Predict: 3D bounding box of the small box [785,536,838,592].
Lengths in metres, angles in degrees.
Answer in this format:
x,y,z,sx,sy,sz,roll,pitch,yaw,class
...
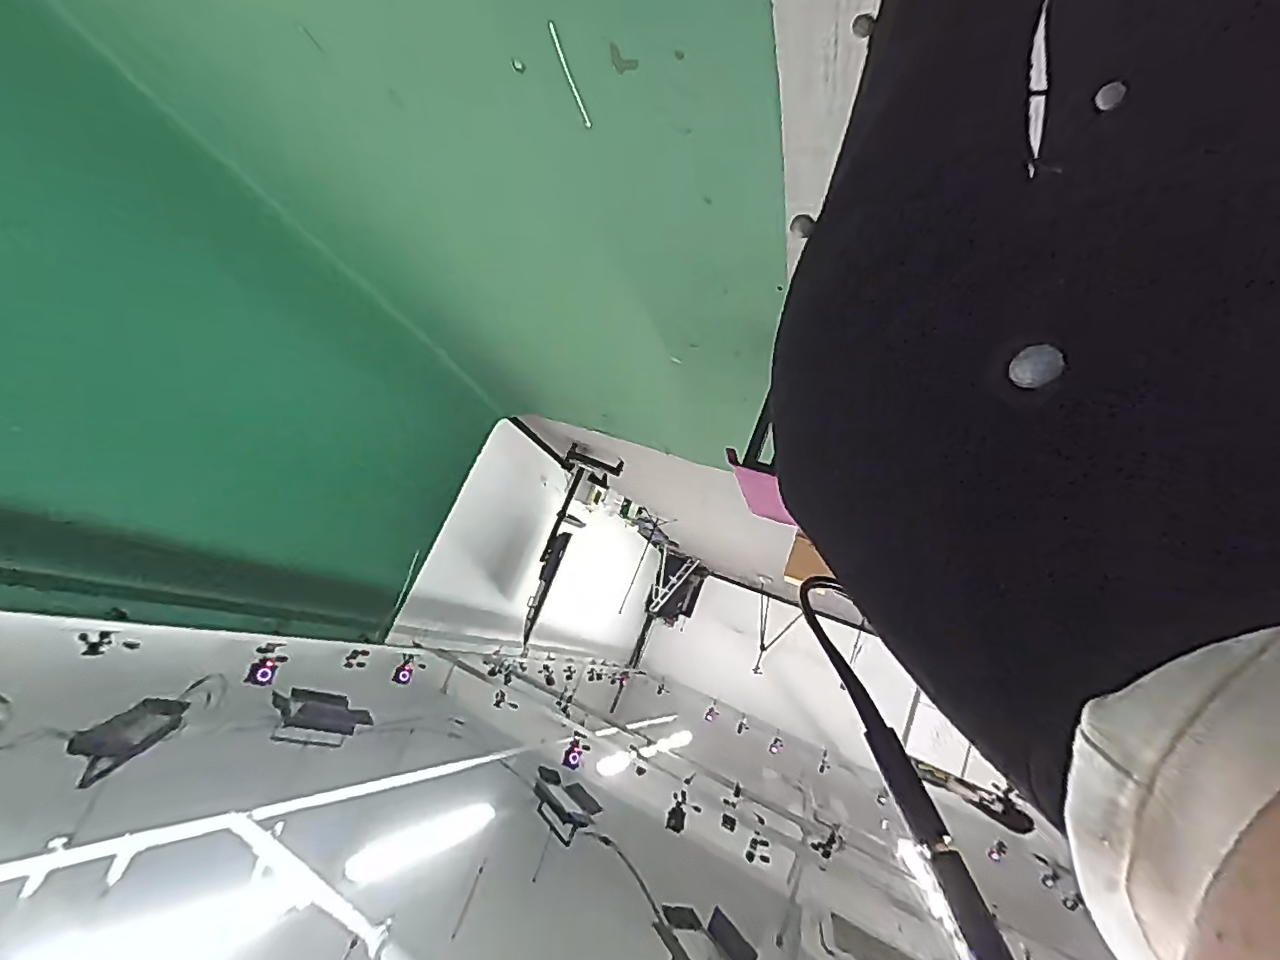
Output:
x,y,z,sx,sy,sz,roll,pitch,yaw,class
0.686,0.333,2.161,0.168,0.176,0.179,18,168,22,small box
